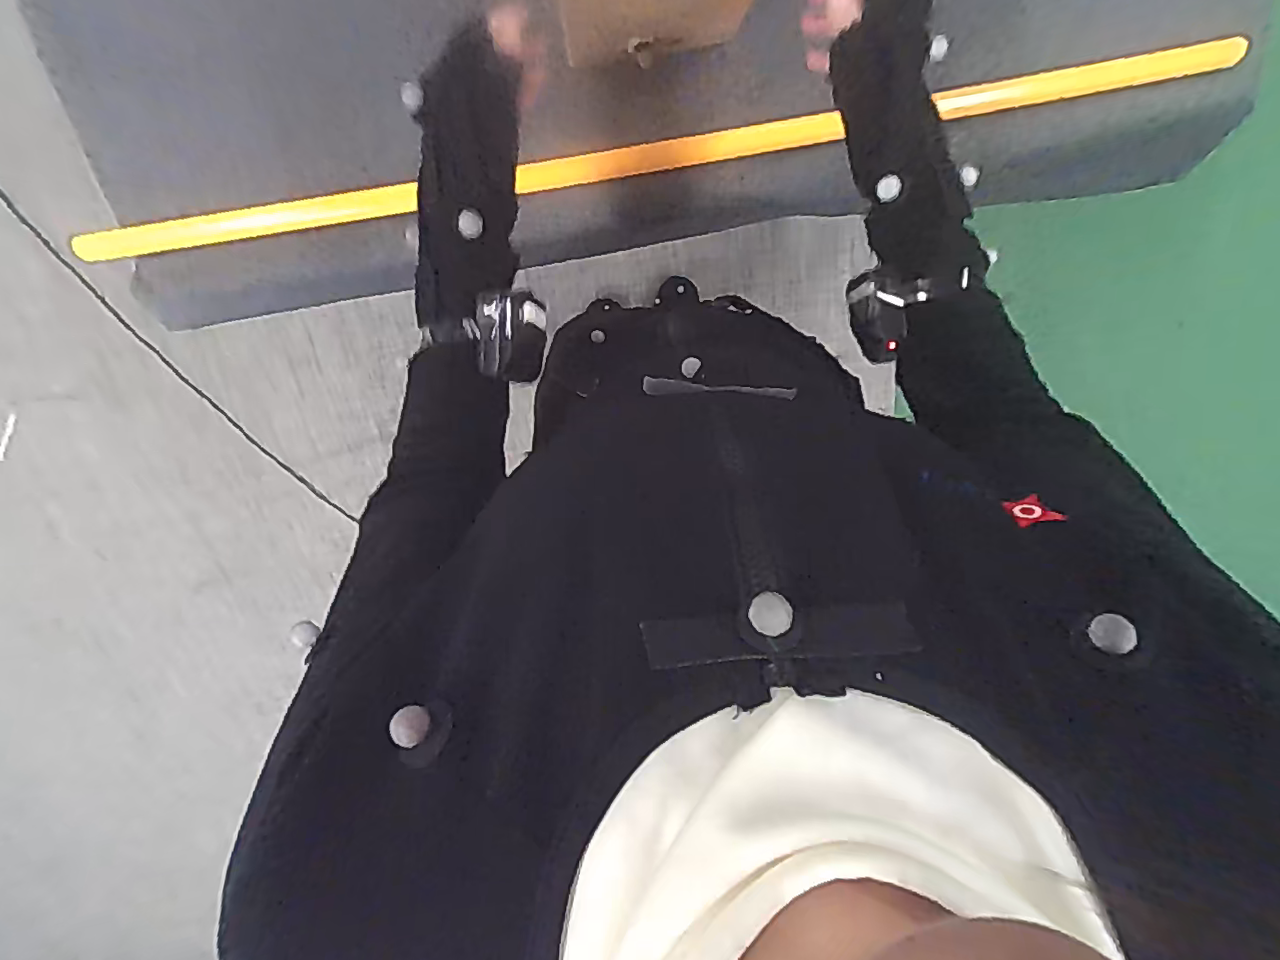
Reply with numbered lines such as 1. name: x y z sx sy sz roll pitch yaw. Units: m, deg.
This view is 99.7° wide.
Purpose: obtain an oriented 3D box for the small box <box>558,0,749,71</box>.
1. small box: 0.001 -0.479 0.442 0.168 0.176 0.179 -11 111 2
